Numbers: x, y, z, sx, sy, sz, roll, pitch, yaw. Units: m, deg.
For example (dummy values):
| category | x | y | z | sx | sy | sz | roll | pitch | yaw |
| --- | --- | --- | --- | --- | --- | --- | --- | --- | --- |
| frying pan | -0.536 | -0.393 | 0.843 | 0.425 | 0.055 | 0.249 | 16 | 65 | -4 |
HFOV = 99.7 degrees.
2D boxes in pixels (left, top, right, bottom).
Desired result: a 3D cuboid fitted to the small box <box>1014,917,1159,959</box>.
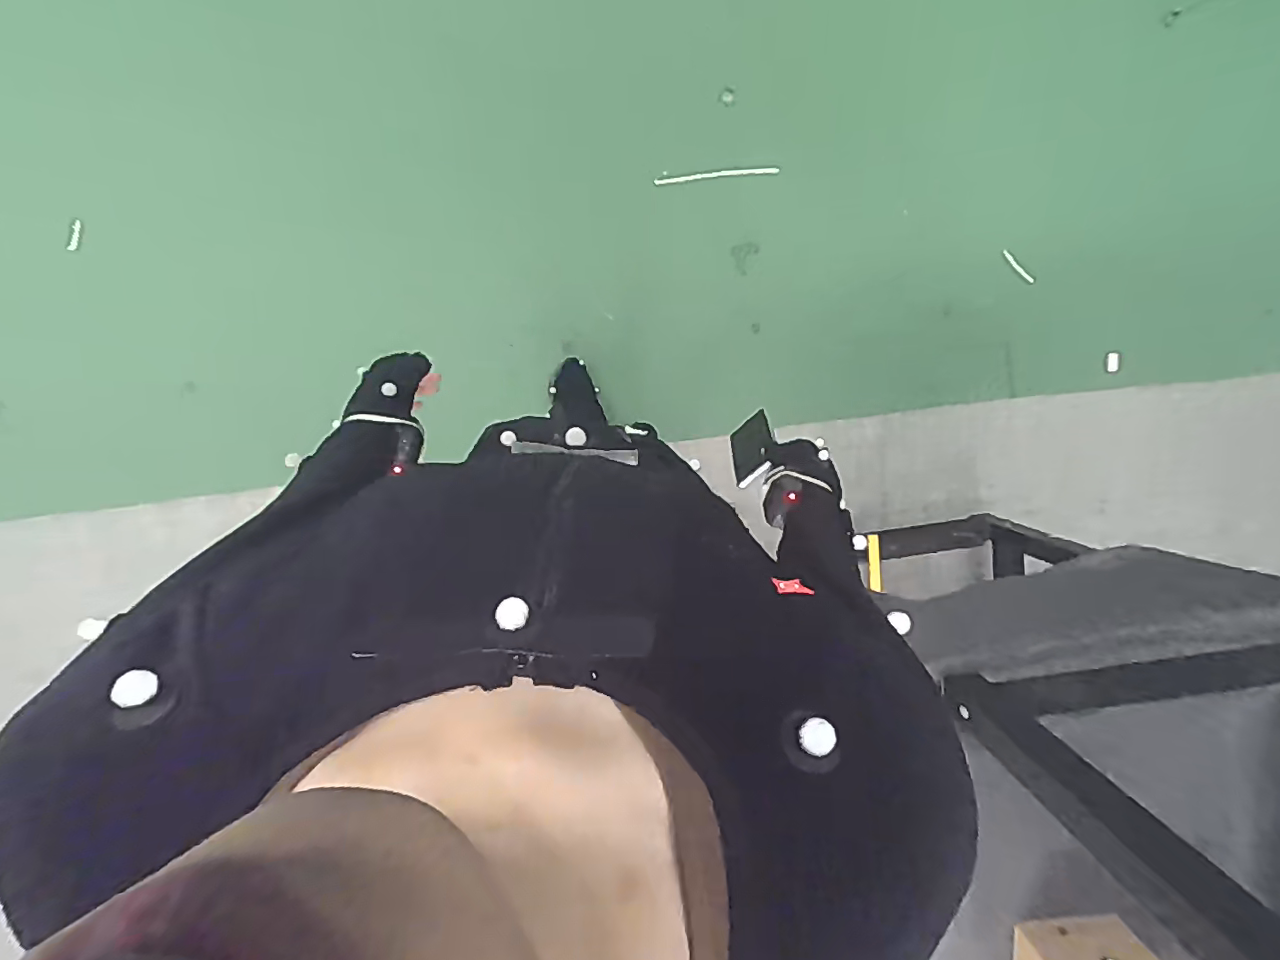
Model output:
| category | x | y | z | sx | sy | sz | roll | pitch | yaw |
| --- | --- | --- | --- | --- | --- | --- | --- | --- | --- |
| small box | 0.683 | 0.785 | 0.793 | 0.168 | 0.176 | 0.179 | -5 | 98 | -1 |
